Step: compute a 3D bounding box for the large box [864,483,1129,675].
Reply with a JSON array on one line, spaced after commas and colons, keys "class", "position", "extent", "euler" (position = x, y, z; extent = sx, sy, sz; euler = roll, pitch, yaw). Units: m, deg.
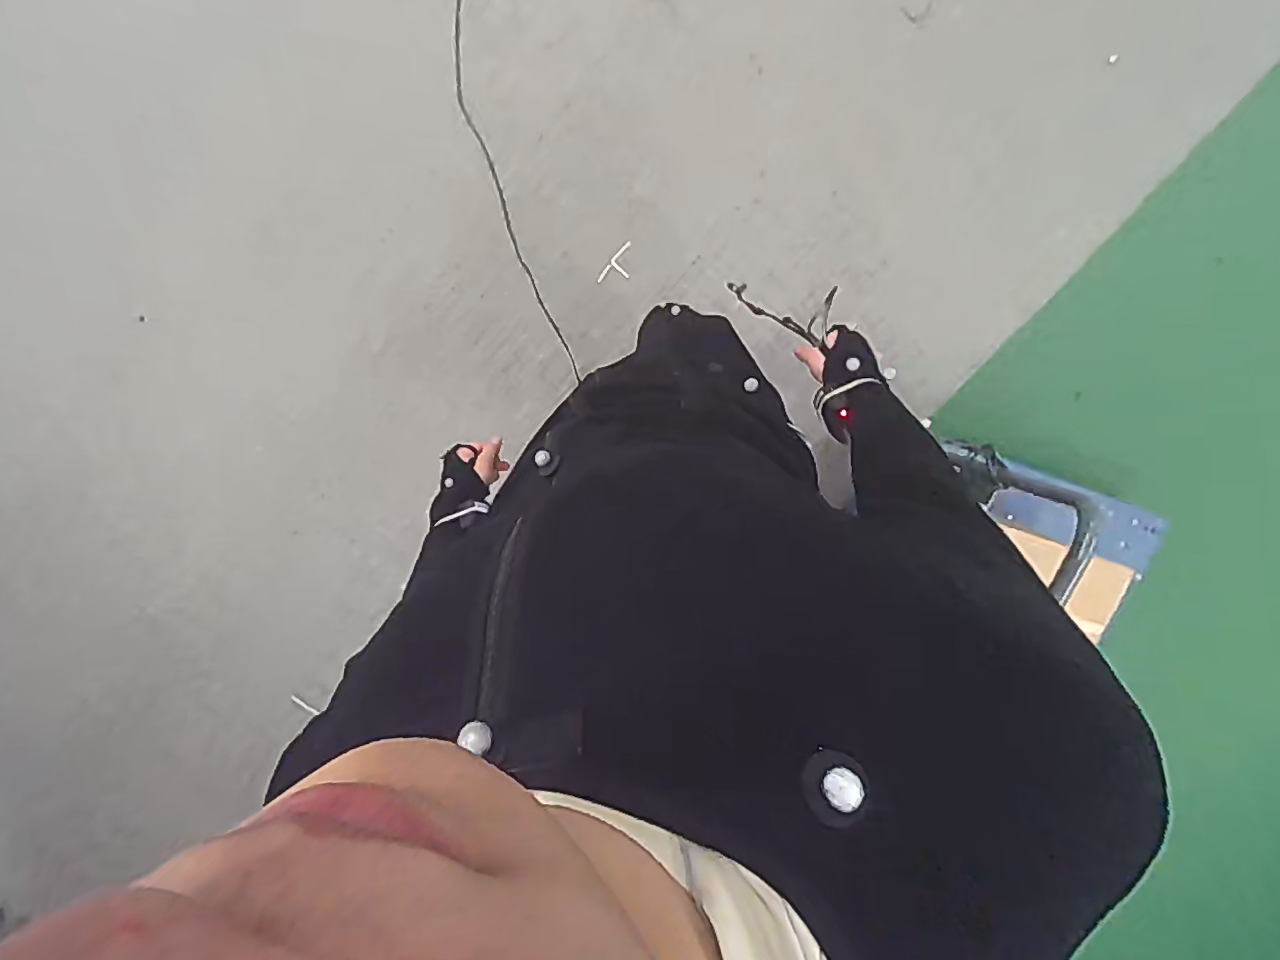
[{"class": "large box", "position": [0.866, 0.234, 1.376], "extent": [0.408, 0.320, 0.320], "euler": [18, 103, -7]}]
